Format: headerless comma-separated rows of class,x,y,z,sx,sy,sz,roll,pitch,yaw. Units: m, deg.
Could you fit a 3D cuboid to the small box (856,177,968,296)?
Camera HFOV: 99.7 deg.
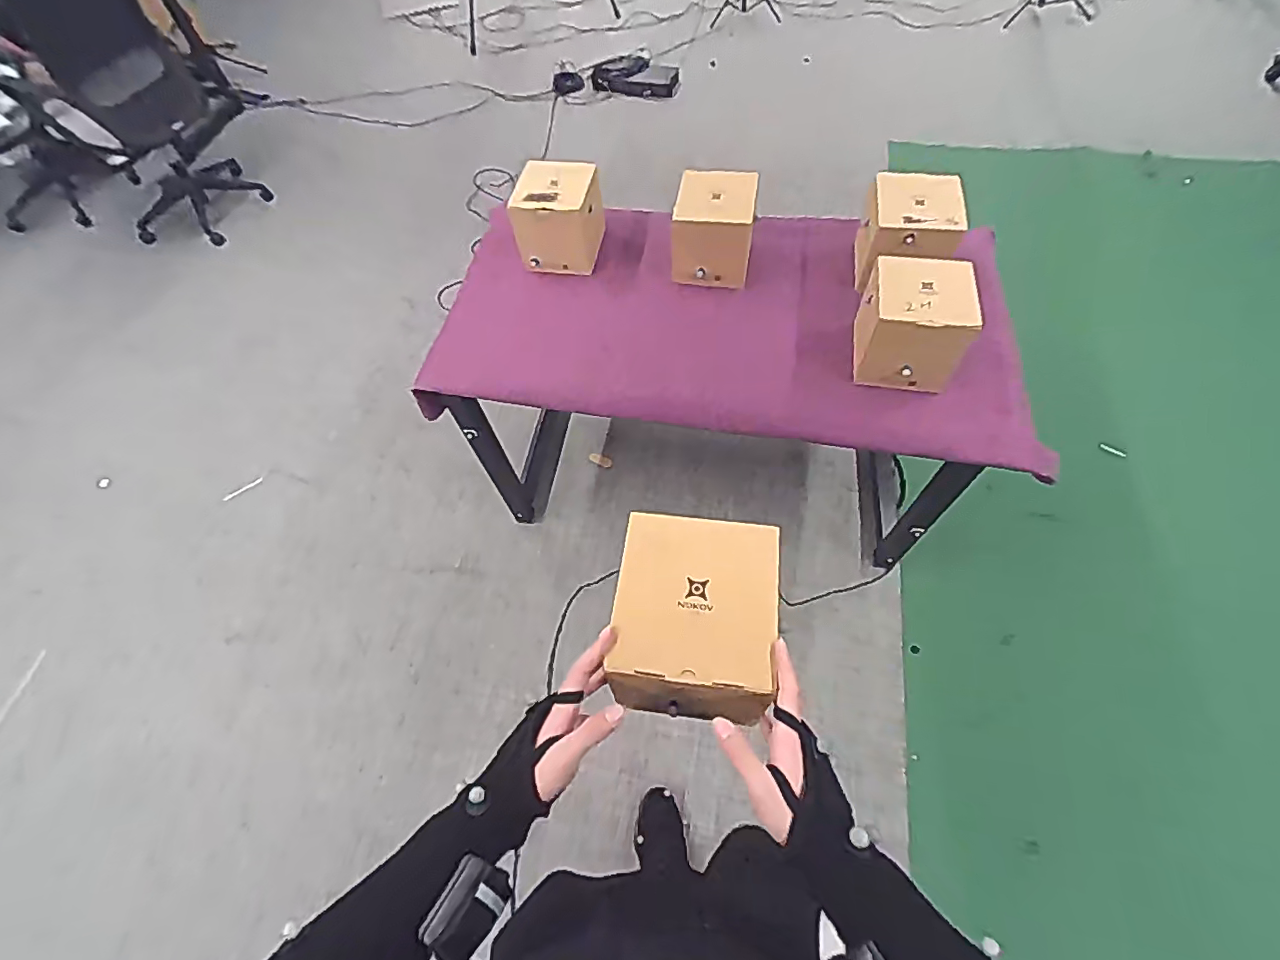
small box,0.566,-0.510,1.149,0.168,0.176,0.179,7,61,9

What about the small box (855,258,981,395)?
small box,0.512,-0.287,1.021,0.168,0.176,0.179,8,60,11

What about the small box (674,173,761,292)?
small box,0.169,-0.550,1.206,0.168,0.176,0.179,8,61,10

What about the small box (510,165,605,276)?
small box,-0.181,-0.601,1.259,0.168,0.176,0.179,7,60,8
